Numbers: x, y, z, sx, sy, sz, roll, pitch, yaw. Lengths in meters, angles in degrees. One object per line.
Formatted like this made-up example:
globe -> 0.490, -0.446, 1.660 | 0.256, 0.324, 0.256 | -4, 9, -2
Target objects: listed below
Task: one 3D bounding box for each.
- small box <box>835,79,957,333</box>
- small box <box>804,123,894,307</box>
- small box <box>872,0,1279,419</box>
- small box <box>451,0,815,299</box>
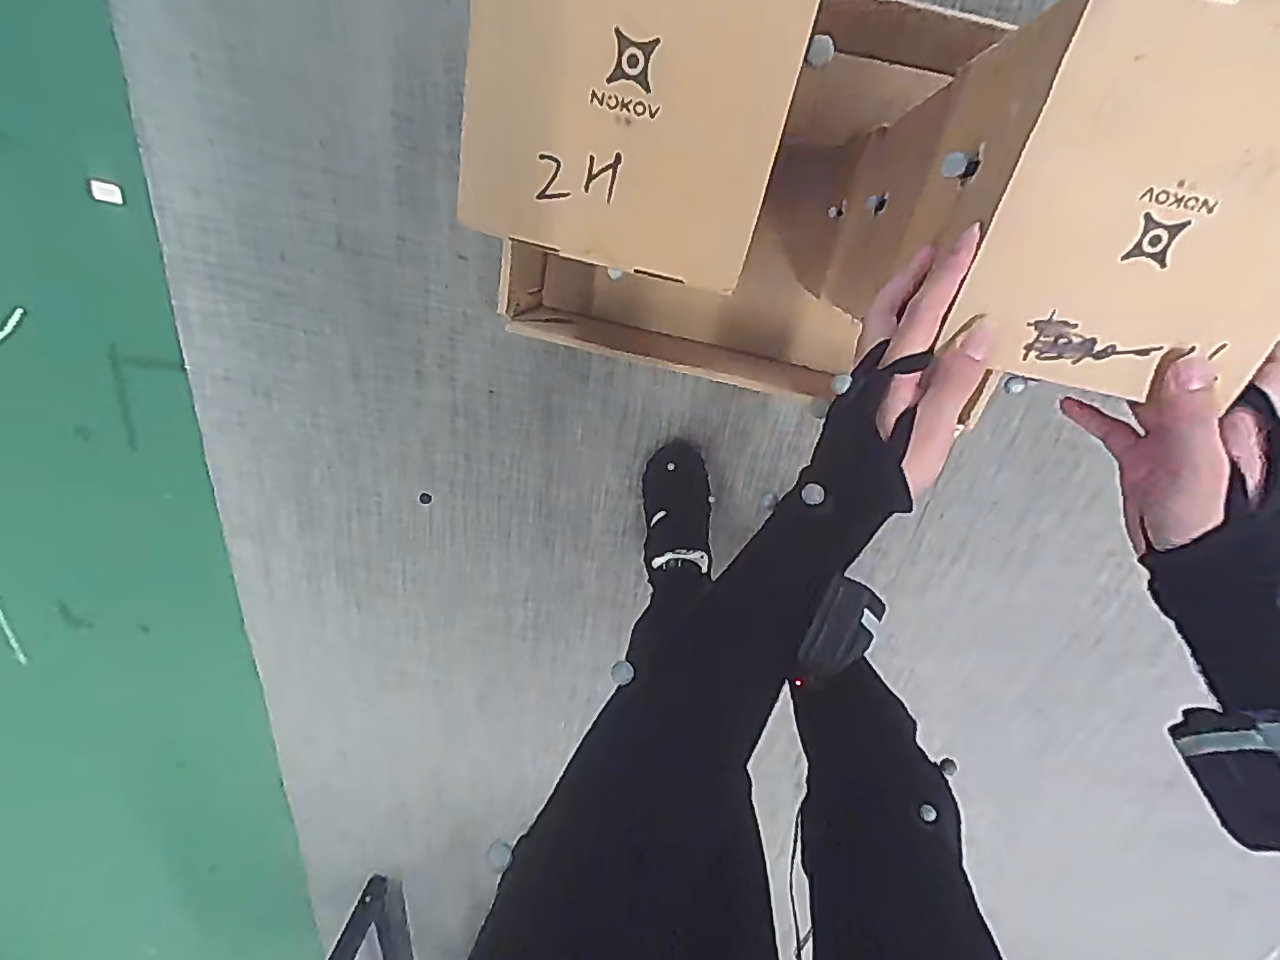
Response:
small box -> 0.291, -0.222, 0.490 | 0.168, 0.176, 0.179 | 14, 114, 3
small box -> 0.306, -0.289, 0.638 | 0.168, 0.176, 0.179 | 15, 116, 3
small box -> 0.269, -0.160, 0.340 | 0.168, 0.176, 0.179 | 14, 115, 3
small box -> -0.002, -0.231, 0.345 | 0.168, 0.176, 0.179 | 14, 115, 0
